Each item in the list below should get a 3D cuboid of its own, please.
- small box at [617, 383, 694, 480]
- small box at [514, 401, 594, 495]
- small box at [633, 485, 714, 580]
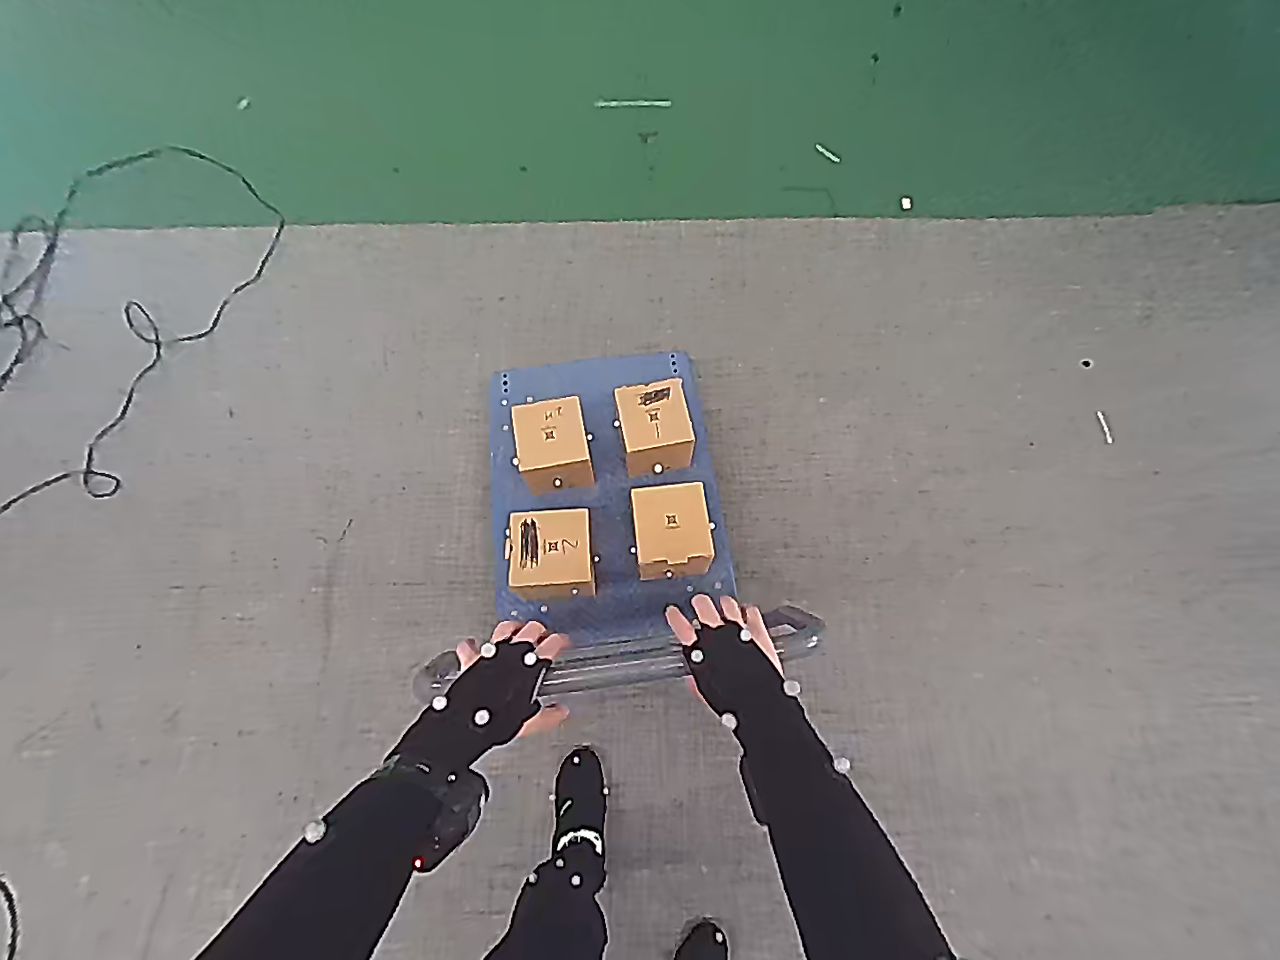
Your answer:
[{"bbox_3d":[0.035,-0.120,1.385,0.168,0.176,0.179,-11,69,-3],"label":"small box"},{"bbox_3d":[-0.212,-0.073,1.366,0.168,0.176,0.179,-10,68,-5],"label":"small box"},{"bbox_3d":[0.072,0.129,1.286,0.168,0.176,0.179,-6,68,-3],"label":"small box"}]
